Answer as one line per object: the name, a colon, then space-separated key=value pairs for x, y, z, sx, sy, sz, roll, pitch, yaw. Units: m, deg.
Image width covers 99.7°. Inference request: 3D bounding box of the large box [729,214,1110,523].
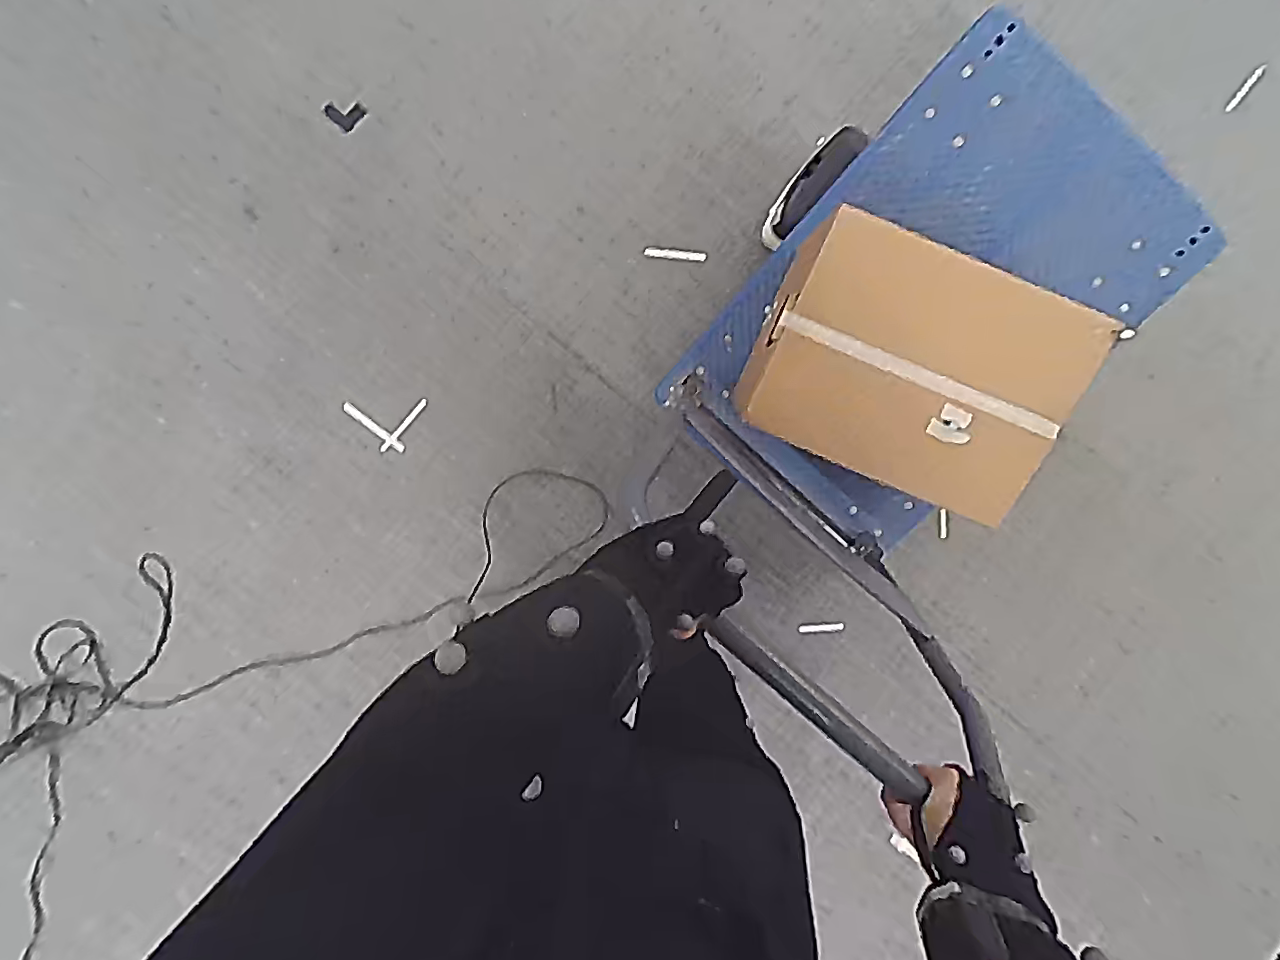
large box: x=0.398 y=-0.179 z=0.895 sx=0.408 sy=0.320 sz=0.320 roll=23 pitch=105 yaw=-1
